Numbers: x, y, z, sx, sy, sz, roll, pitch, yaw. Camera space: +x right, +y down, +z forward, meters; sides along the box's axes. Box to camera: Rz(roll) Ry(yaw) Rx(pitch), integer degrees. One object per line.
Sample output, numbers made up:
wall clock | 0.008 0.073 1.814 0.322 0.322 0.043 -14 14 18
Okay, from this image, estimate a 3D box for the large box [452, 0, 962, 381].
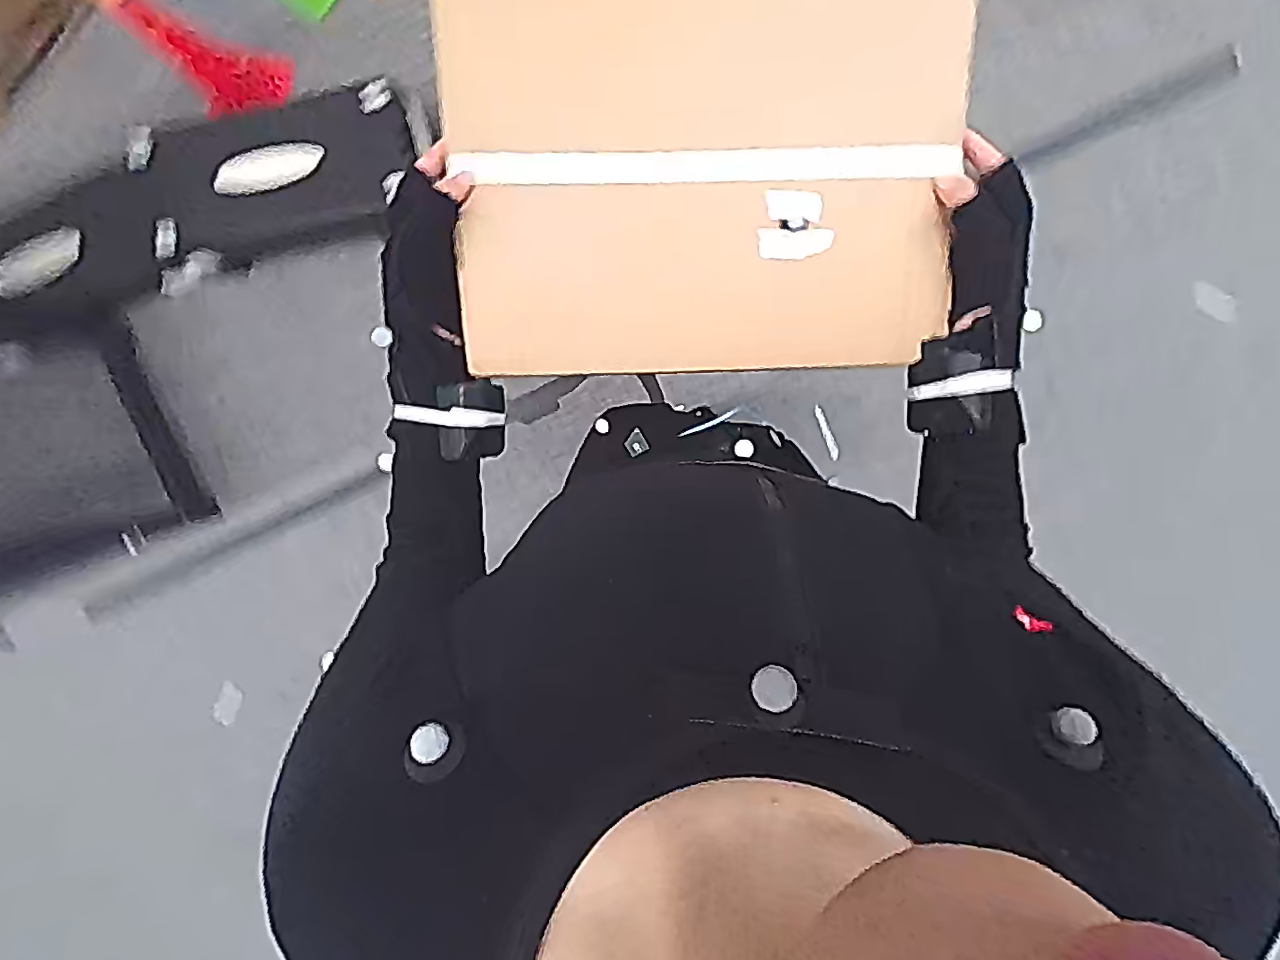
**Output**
large box | 0.049 -0.274 0.587 0.408 0.320 0.320 -1 103 -3
